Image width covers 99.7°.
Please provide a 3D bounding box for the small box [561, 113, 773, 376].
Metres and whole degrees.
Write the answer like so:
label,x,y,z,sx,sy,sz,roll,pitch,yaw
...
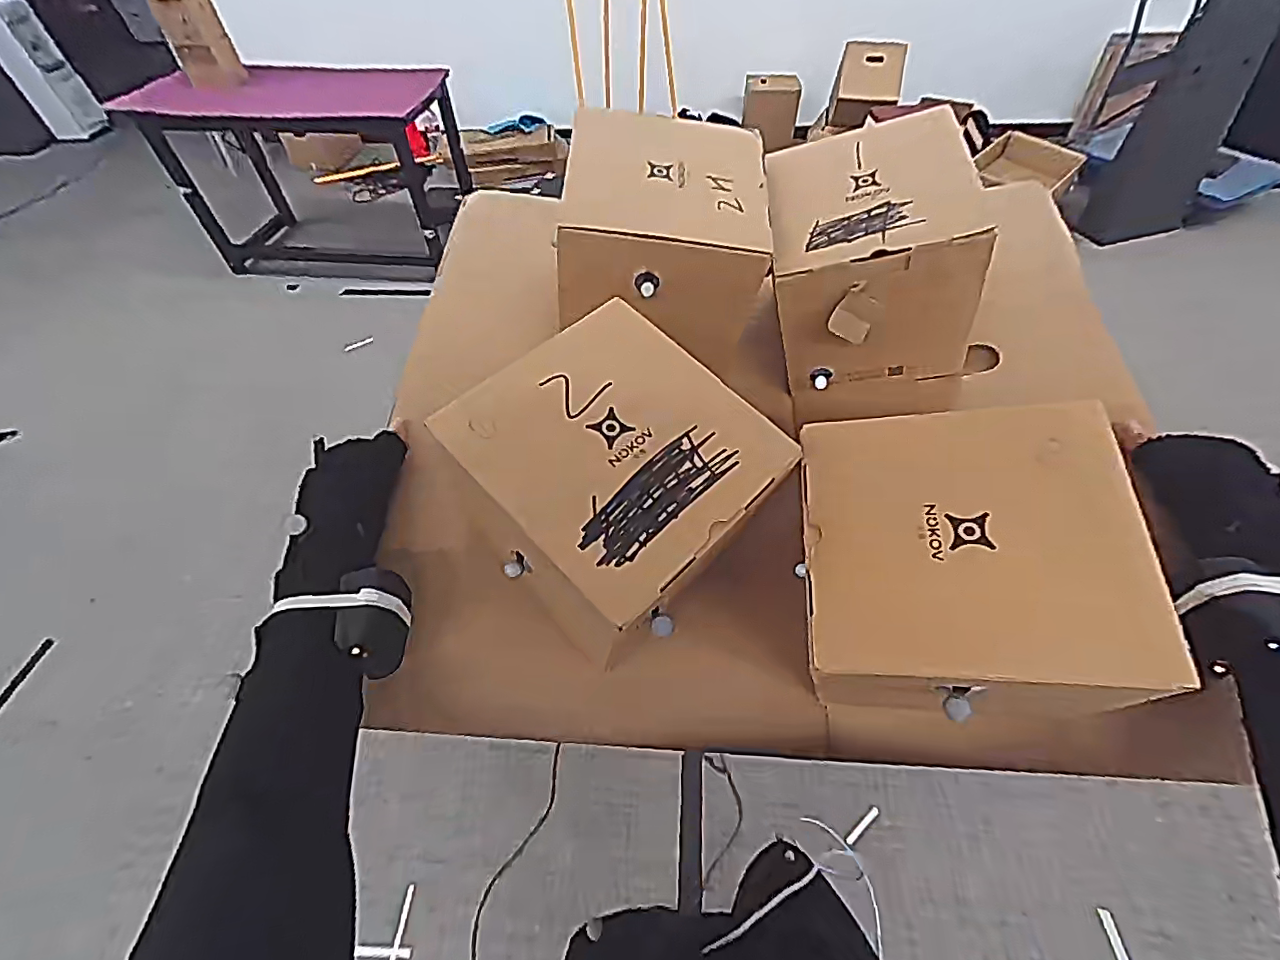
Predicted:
label,x,y,z,sx,sy,sz,roll,pitch,yaw
small box,0.019,-0.223,0.540,0.179,0.176,0.168,6,63,-5
